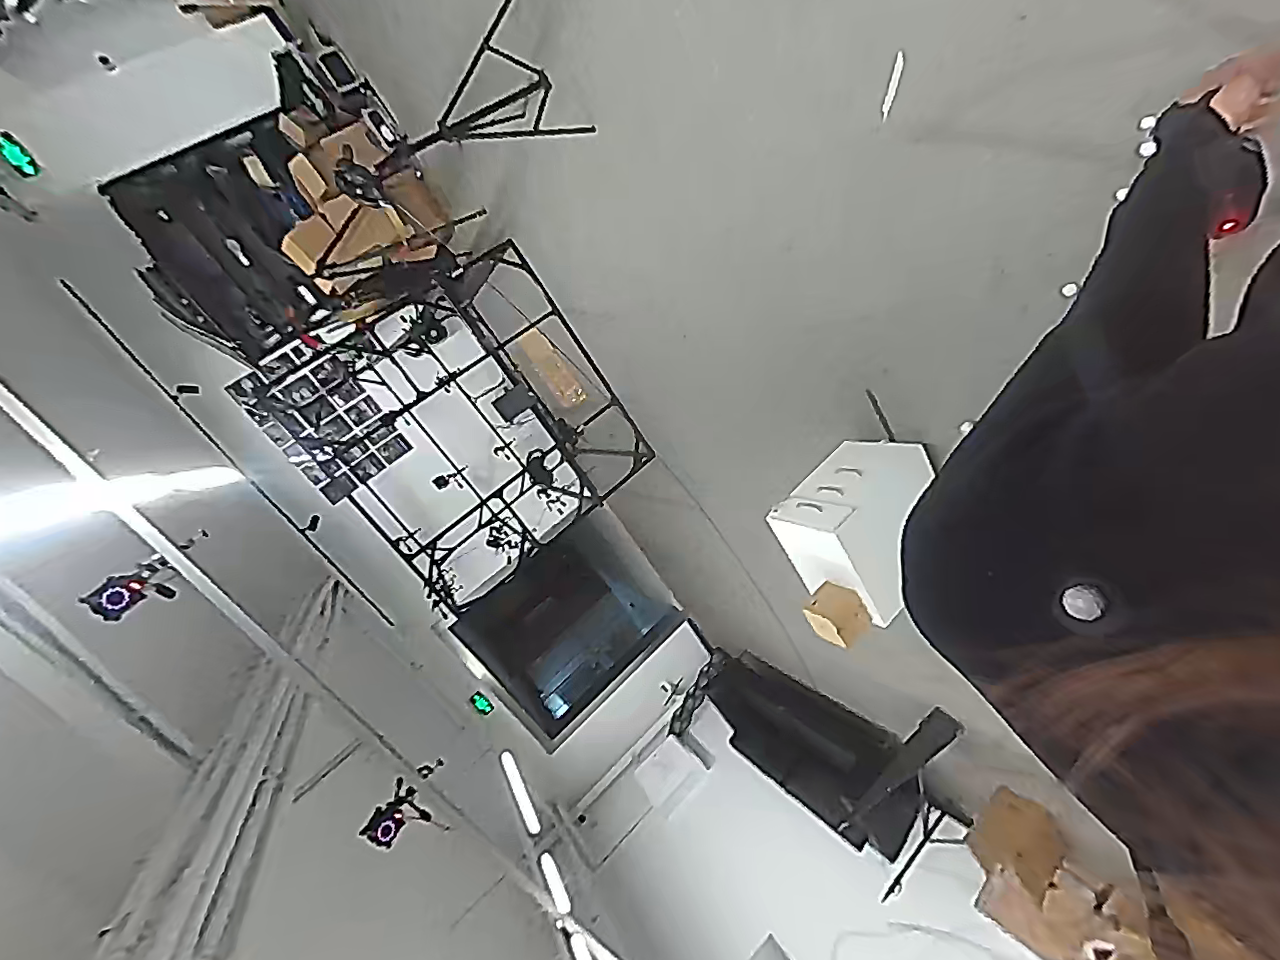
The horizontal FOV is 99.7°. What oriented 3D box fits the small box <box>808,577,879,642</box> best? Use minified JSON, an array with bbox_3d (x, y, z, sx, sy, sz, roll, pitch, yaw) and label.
[{"bbox_3d":[0.837,0.524,2.221,0.168,0.176,0.179,55,164,-19],"label":"small box"}]
